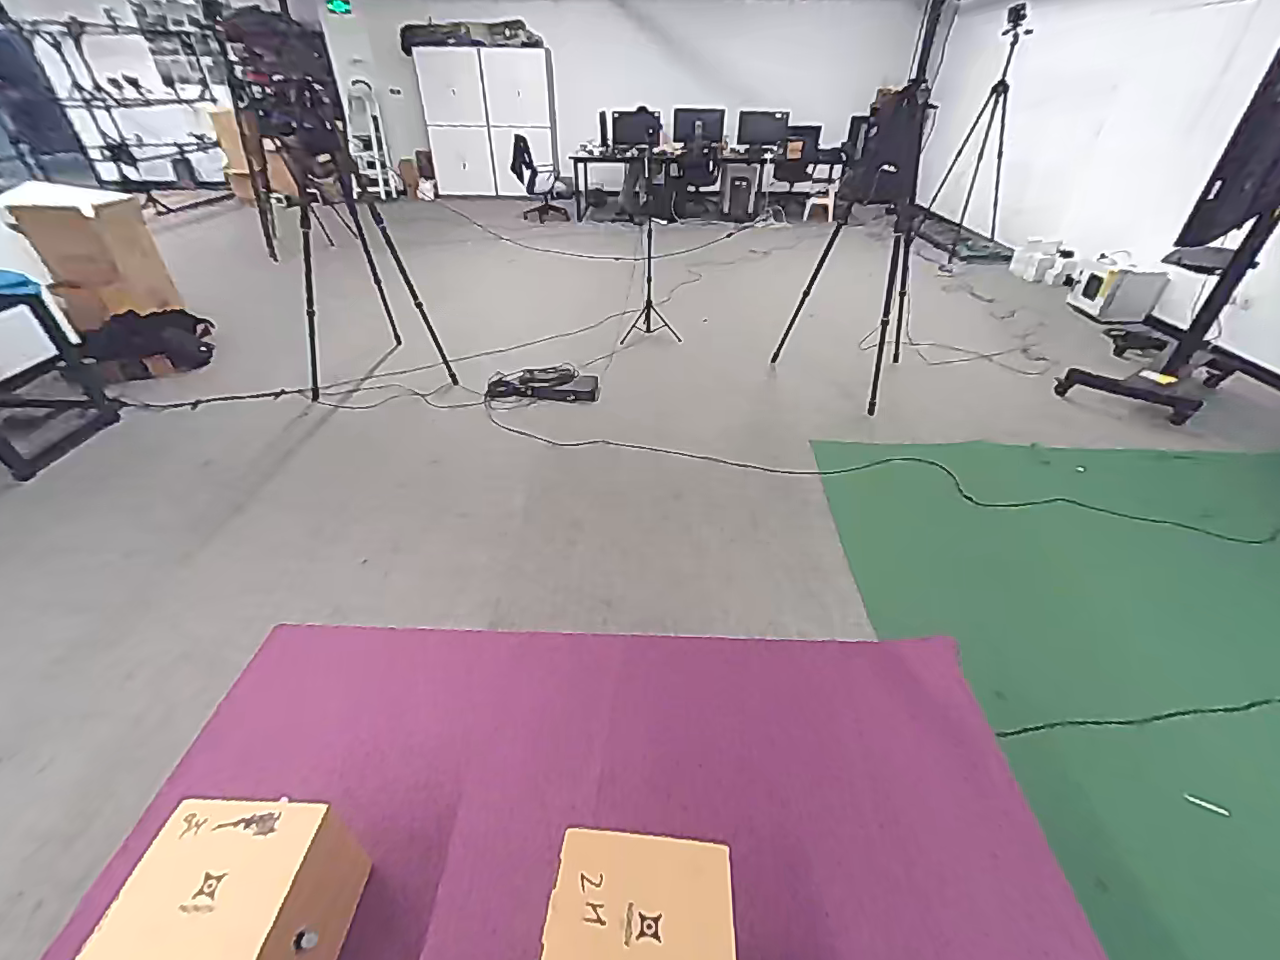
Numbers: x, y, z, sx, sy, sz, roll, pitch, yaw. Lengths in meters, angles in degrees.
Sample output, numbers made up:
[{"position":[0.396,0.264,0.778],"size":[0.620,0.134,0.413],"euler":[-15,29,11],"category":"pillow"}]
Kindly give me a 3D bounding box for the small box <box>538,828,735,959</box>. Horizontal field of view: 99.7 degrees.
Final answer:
[{"position":[-0.003,0.485,0.530],"size":[0.179,0.176,0.168],"euler":[4,24,5],"category":"small box"}]

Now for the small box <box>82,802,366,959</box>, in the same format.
[{"position":[-0.424,0.475,0.577],"size":[0.168,0.176,0.179],"euler":[1,36,2],"category":"small box"}]
